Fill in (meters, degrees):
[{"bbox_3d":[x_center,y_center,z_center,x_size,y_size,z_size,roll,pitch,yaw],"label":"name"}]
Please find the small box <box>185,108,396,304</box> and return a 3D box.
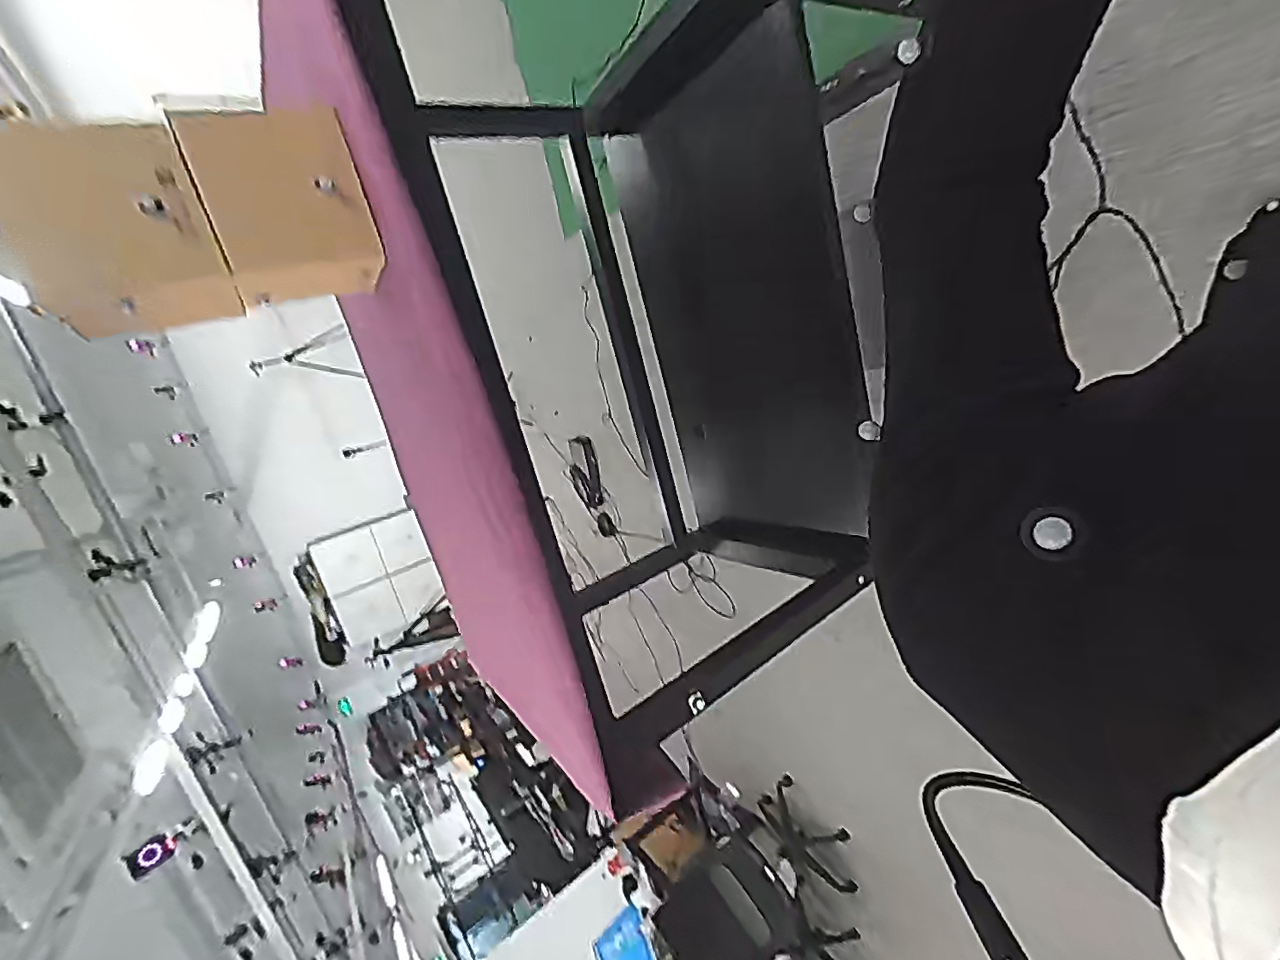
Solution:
[{"bbox_3d":[-0.437,-0.343,0.698,0.168,0.176,0.179,5,114,59],"label":"small box"}]
